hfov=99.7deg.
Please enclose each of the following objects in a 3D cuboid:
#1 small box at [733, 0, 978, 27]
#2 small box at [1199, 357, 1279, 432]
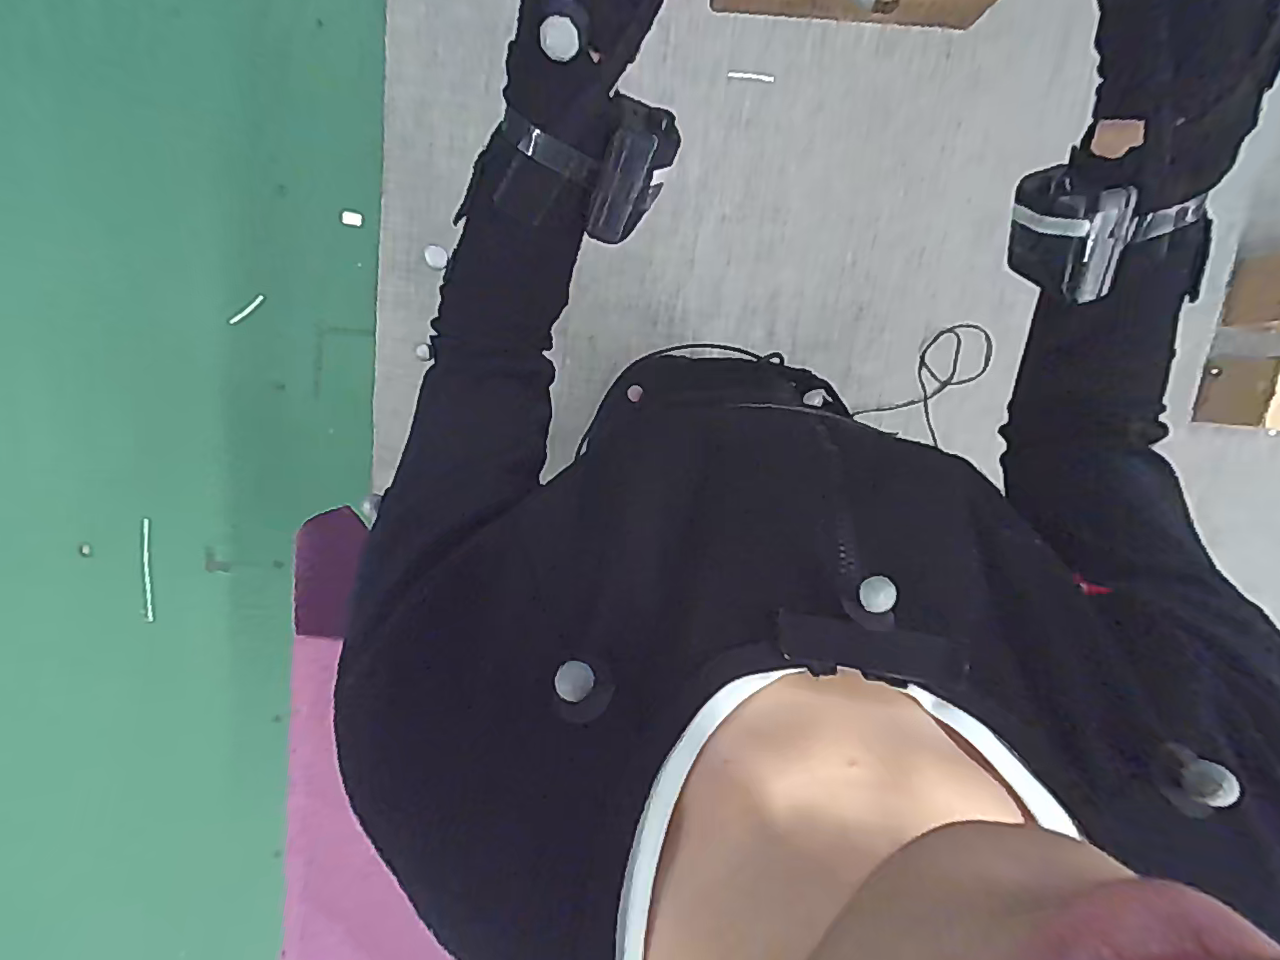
[{"bbox_3d":[0.130,-0.356,0.242,0.168,0.176,0.179,5,106,1],"label":"small box"},{"bbox_3d":[1.530,-0.203,1.306,0.179,0.176,0.168,6,101,0],"label":"small box"}]
